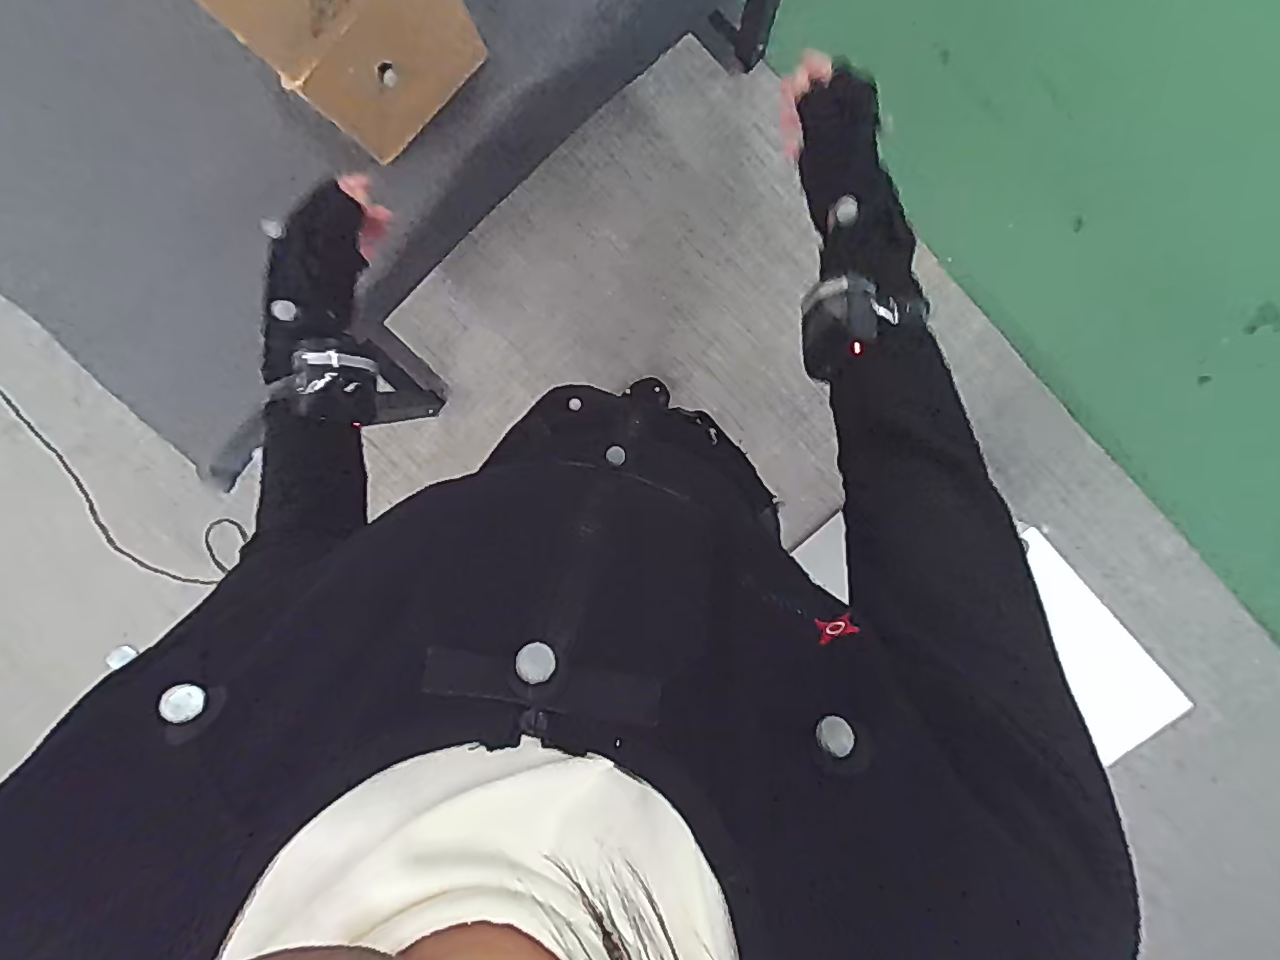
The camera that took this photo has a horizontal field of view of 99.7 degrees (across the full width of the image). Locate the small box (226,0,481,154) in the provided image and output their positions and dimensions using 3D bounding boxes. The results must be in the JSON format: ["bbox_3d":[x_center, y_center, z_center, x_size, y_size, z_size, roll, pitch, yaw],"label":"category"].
[{"bbox_3d":[-0.292,-0.475,0.538,0.179,0.176,0.168,-41,95,9],"label":"small box"}]

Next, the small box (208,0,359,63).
[{"bbox_3d":[-0.306,-0.456,0.375,0.168,0.176,0.179,-44,93,9],"label":"small box"}]
